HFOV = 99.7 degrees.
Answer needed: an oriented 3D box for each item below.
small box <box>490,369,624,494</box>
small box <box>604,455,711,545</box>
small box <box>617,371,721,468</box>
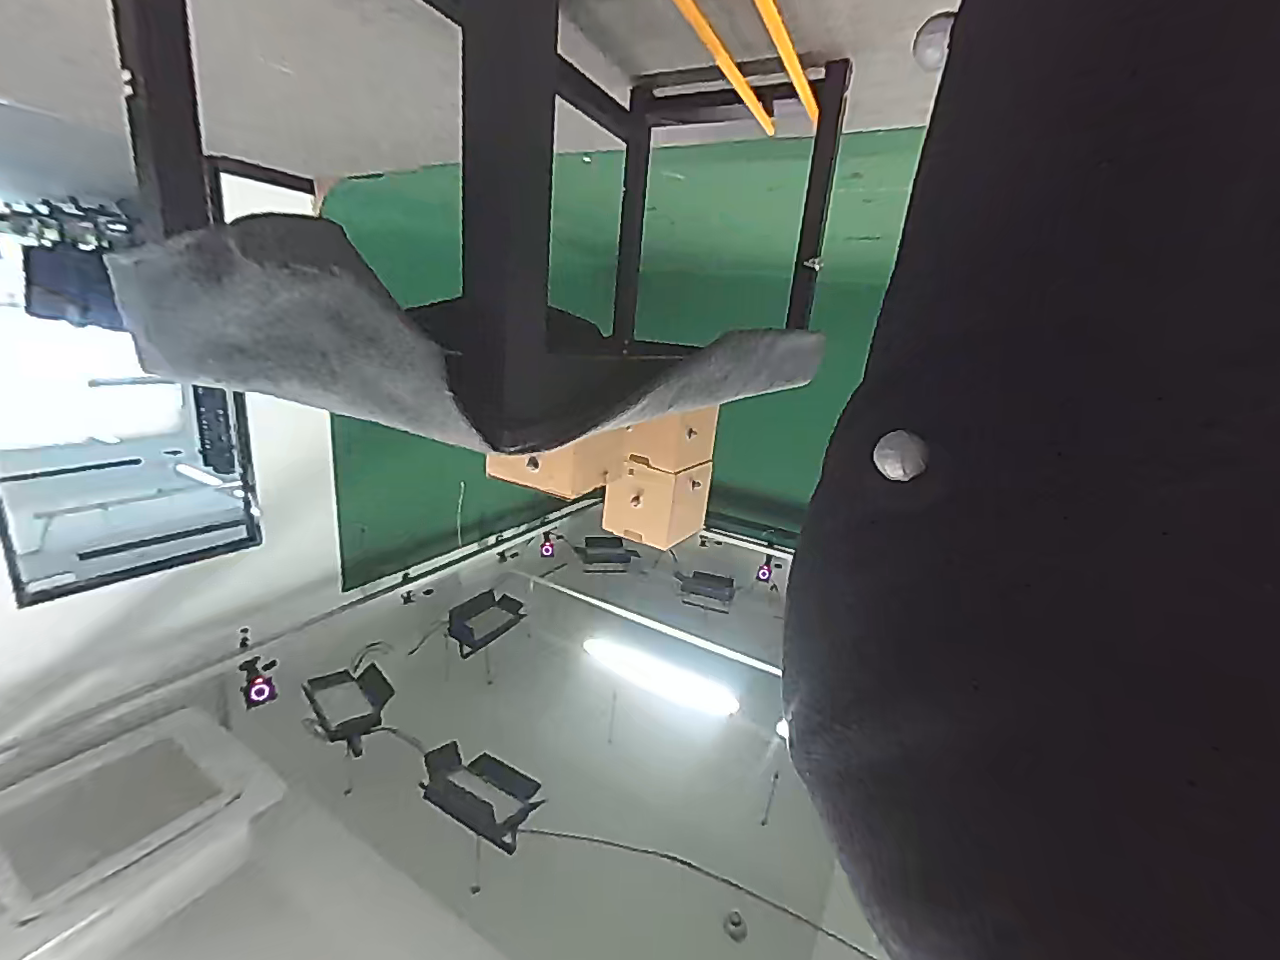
[{"bbox_3d":[-0.137,-0.091,0.922,0.179,0.176,0.168,14,-162,25],"label":"small box"},{"bbox_3d":[0.040,0.021,1.185,0.168,0.176,0.179,16,-161,29],"label":"small box"},{"bbox_3d":[0.054,-0.135,1.134,0.168,0.176,0.179,17,-160,30],"label":"small box"}]
